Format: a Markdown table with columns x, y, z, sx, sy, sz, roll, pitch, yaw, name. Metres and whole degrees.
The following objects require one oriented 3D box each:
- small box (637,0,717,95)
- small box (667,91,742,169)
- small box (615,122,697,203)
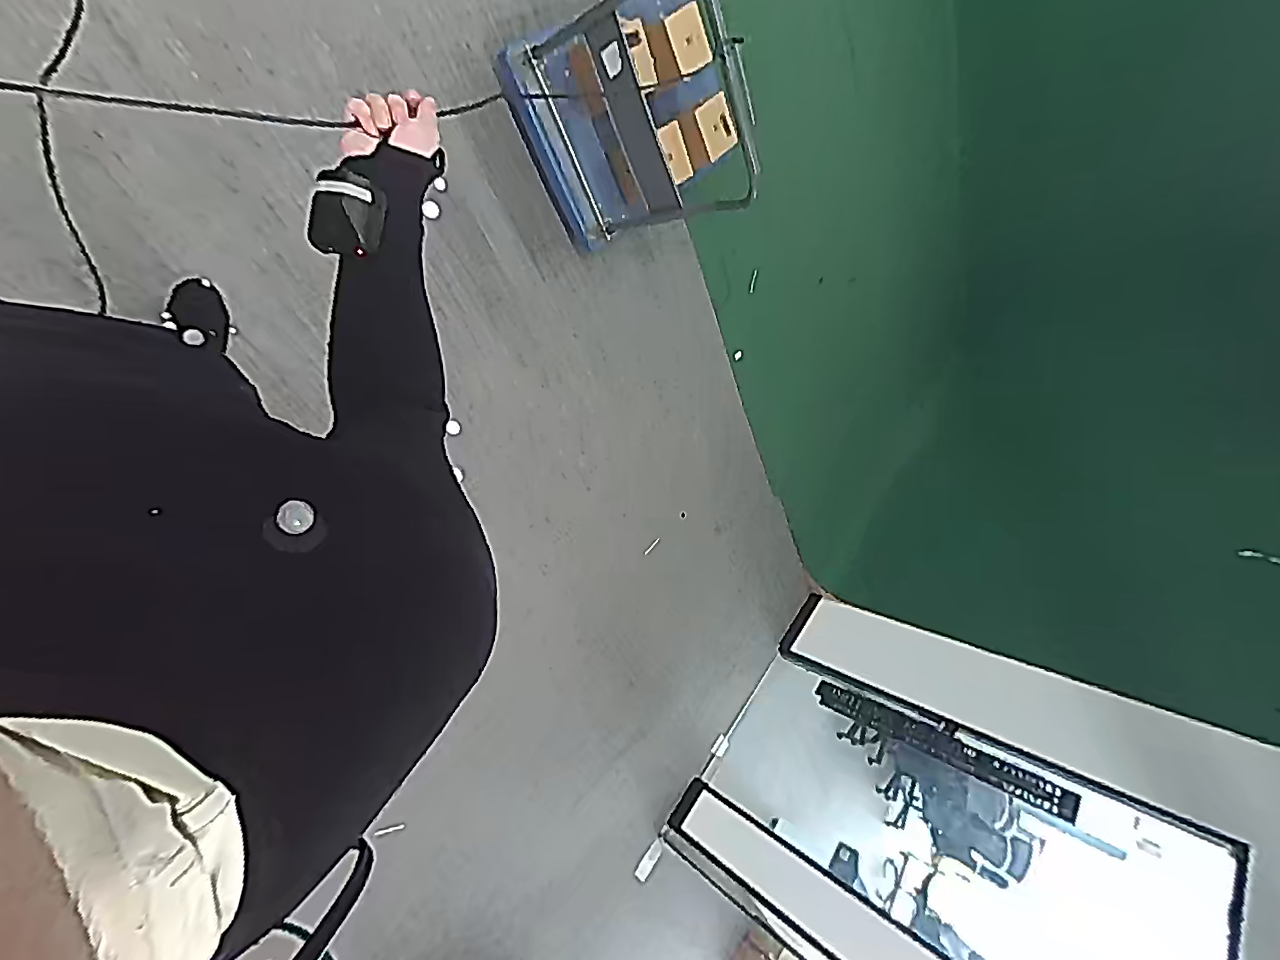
| x | y | z | sx | sy | sz | roll | pitch | yaw | name |
| --- | --- | --- | --- | --- | --- | --- | --- | --- | --- |
| 0.111 | -1.382 | 1.738 | 0.179 | 0.176 | 0.168 | -49 | 129 | -24 | small box |
| 0.220 | -1.207 | 1.883 | 0.179 | 0.176 | 0.168 | -49 | 128 | -23 | small box |
| 0.051 | -1.033 | 1.764 | 0.179 | 0.176 | 0.168 | -45 | 127 | -26 | small box |
